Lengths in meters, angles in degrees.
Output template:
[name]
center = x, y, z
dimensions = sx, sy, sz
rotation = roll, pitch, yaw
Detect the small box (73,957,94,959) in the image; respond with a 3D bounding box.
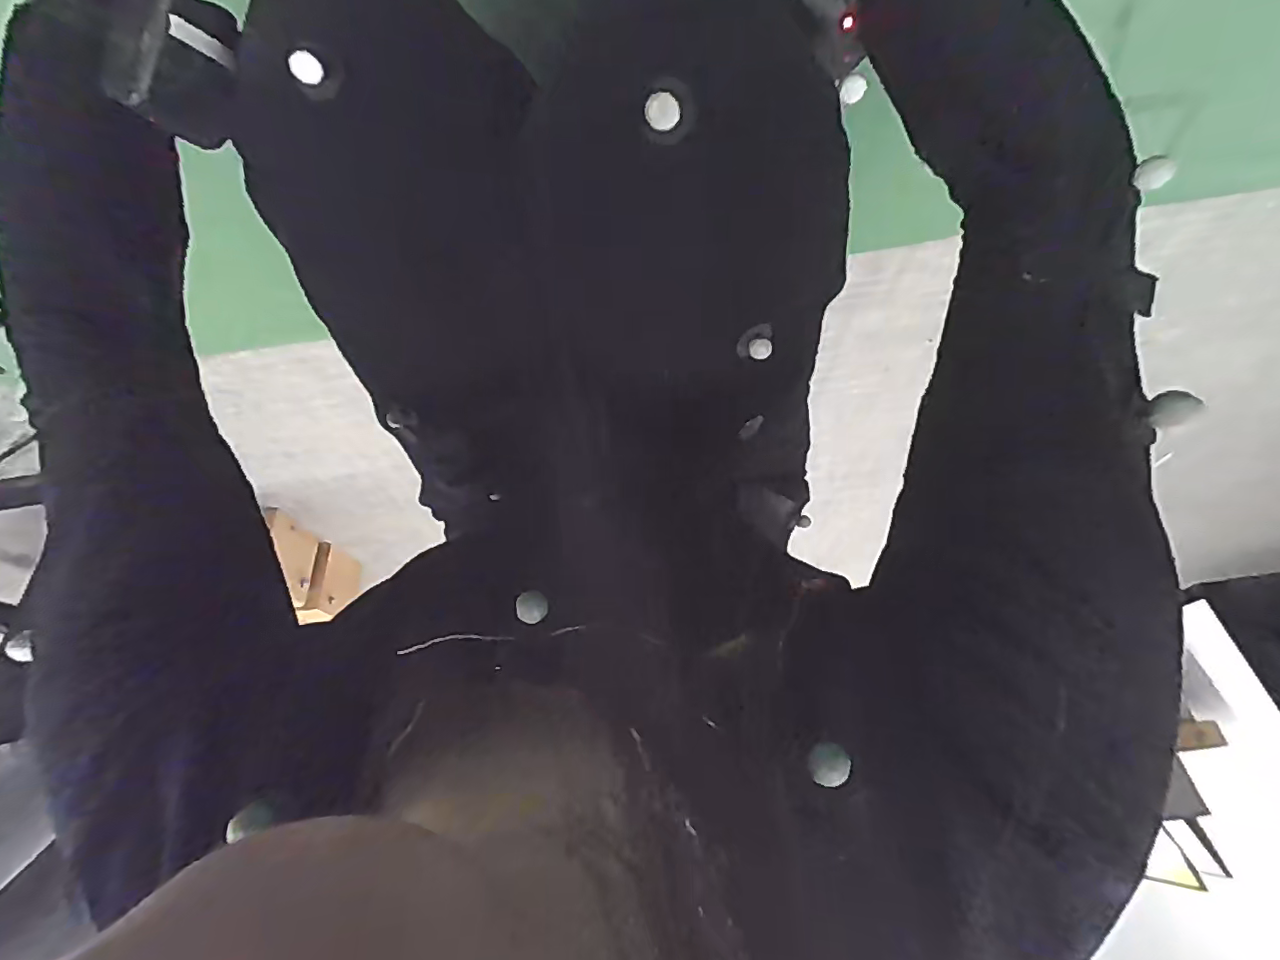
[small box]
center = -0.999, 0.866, 0.828
dimensions = 0.179, 0.176, 0.168
rotation = -10, 150, 2
